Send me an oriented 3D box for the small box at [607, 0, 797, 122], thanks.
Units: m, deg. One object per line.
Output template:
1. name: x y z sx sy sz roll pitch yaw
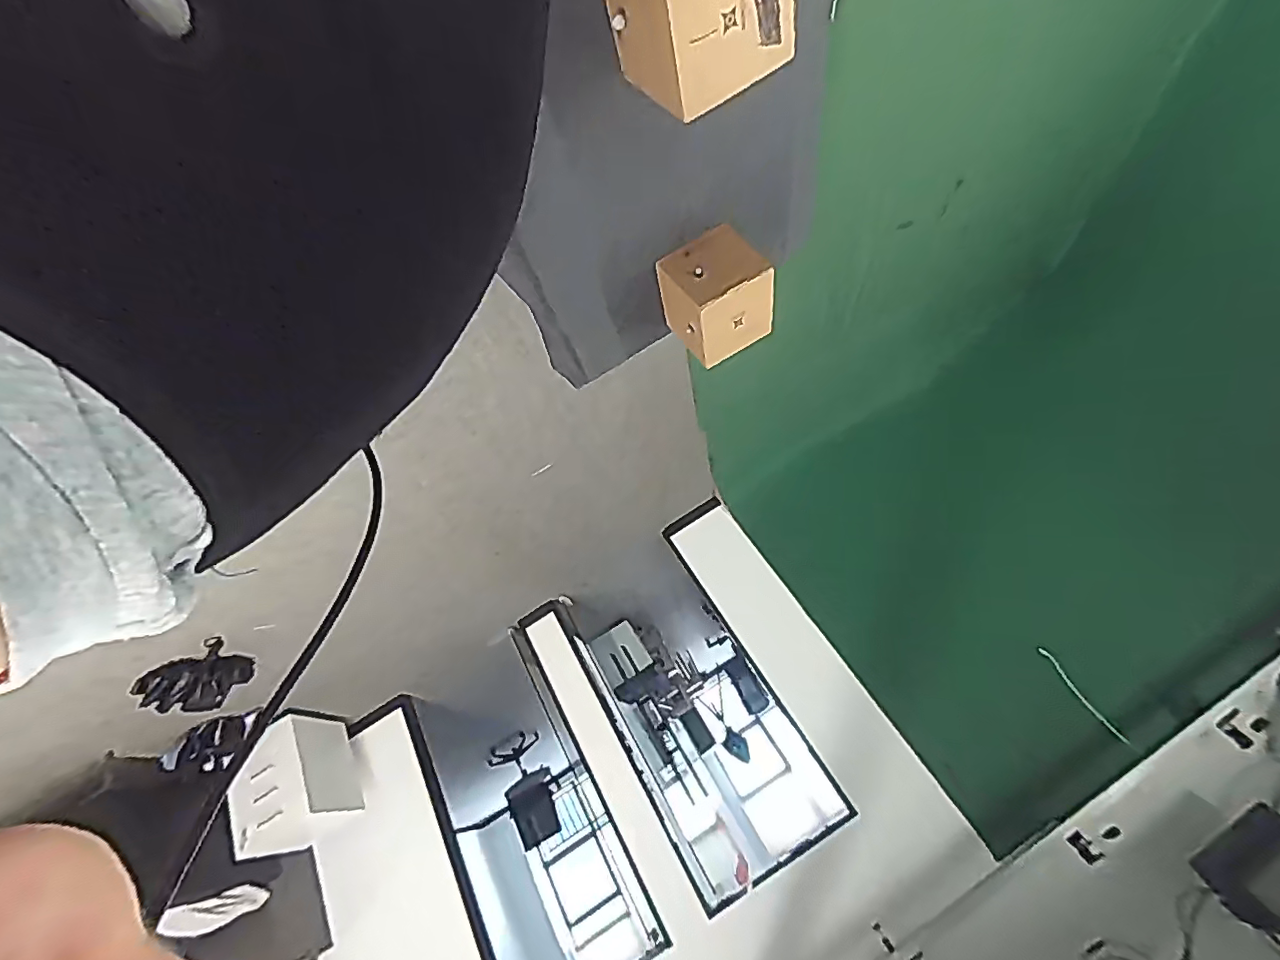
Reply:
1. small box: 0.072 -0.597 0.665 0.179 0.176 0.168 -32 152 -3

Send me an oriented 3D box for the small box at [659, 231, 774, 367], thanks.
1. small box: 0.152 -0.372 1.096 0.168 0.176 0.179 -30 152 -5
